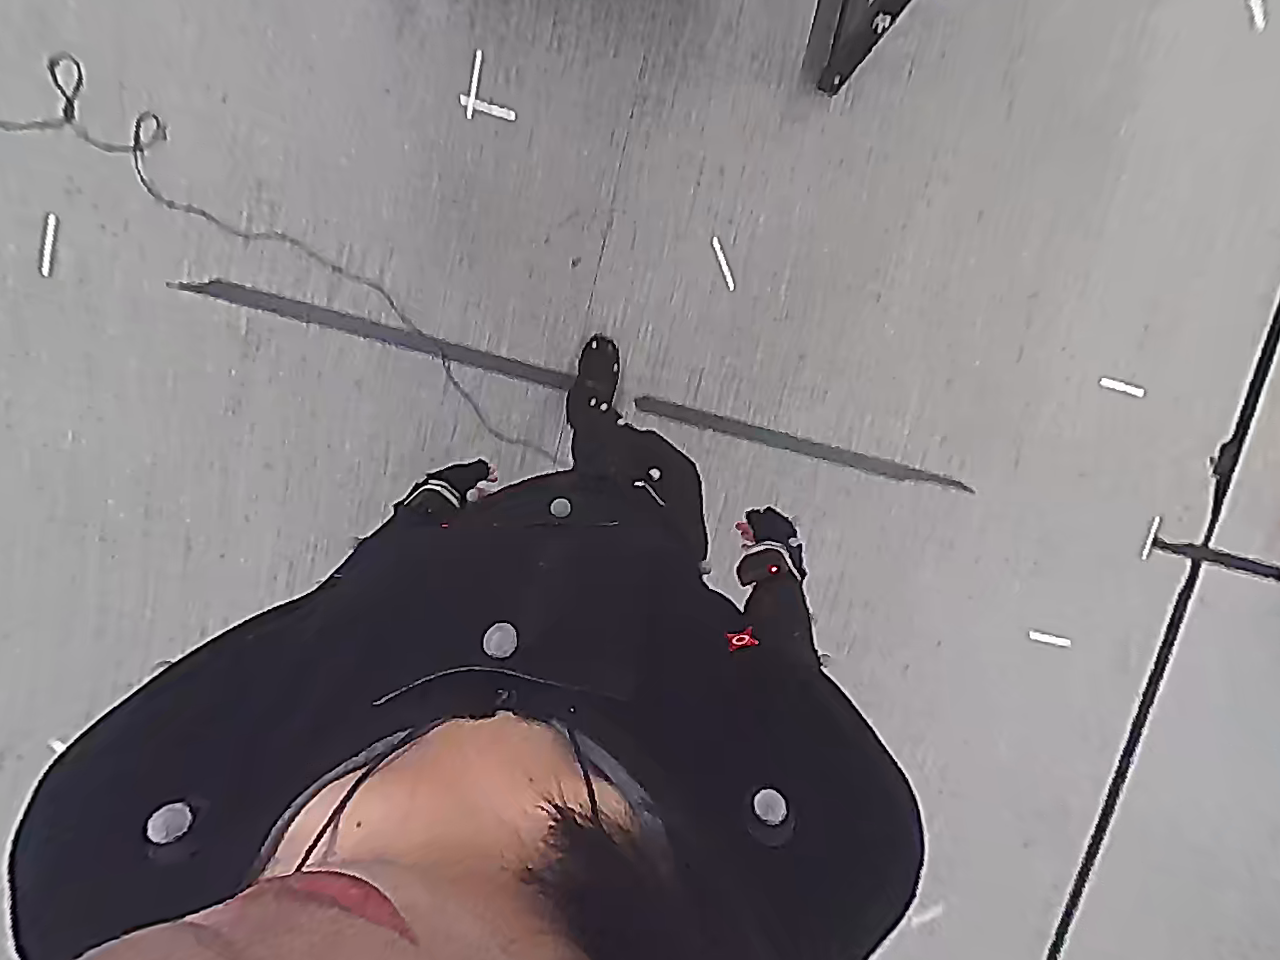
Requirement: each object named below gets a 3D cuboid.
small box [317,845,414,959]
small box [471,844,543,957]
[{"bbox_3d":[-0.737,1.142,1.477,0.179,0.176,0.168,-12,97,-3],"label":"small box"},{"bbox_3d":[-0.367,1.176,1.521,0.168,0.176,0.179,-5,97,-6],"label":"small box"}]
